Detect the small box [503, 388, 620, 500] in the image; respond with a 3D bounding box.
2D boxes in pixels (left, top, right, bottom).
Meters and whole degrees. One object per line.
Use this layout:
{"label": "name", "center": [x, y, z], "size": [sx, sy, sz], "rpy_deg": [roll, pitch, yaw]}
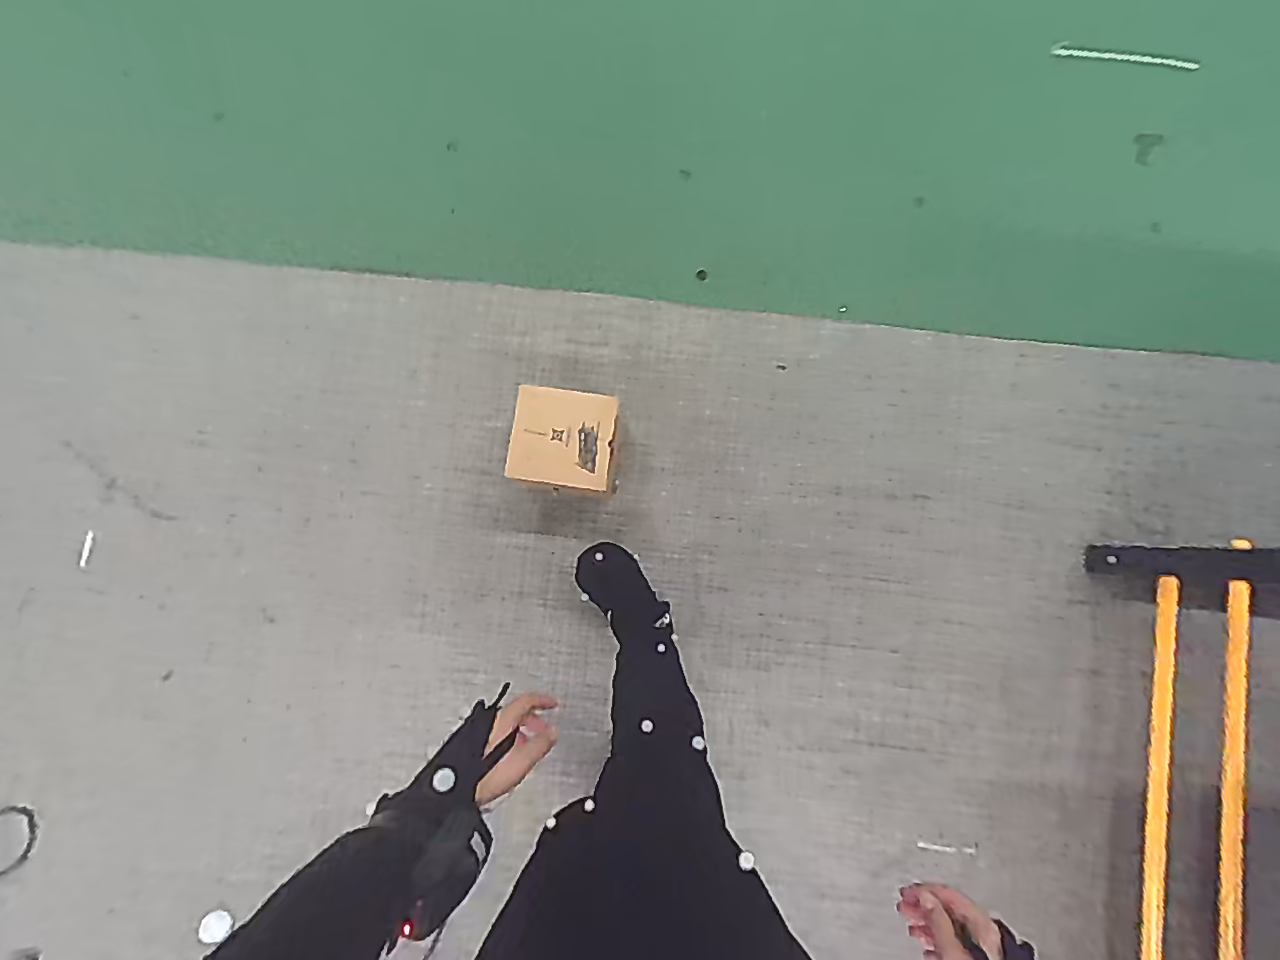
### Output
{"label": "small box", "center": [-0.135, -0.057, 1.001], "size": [0.179, 0.176, 0.168], "rpy_deg": [8, 83, 1]}
